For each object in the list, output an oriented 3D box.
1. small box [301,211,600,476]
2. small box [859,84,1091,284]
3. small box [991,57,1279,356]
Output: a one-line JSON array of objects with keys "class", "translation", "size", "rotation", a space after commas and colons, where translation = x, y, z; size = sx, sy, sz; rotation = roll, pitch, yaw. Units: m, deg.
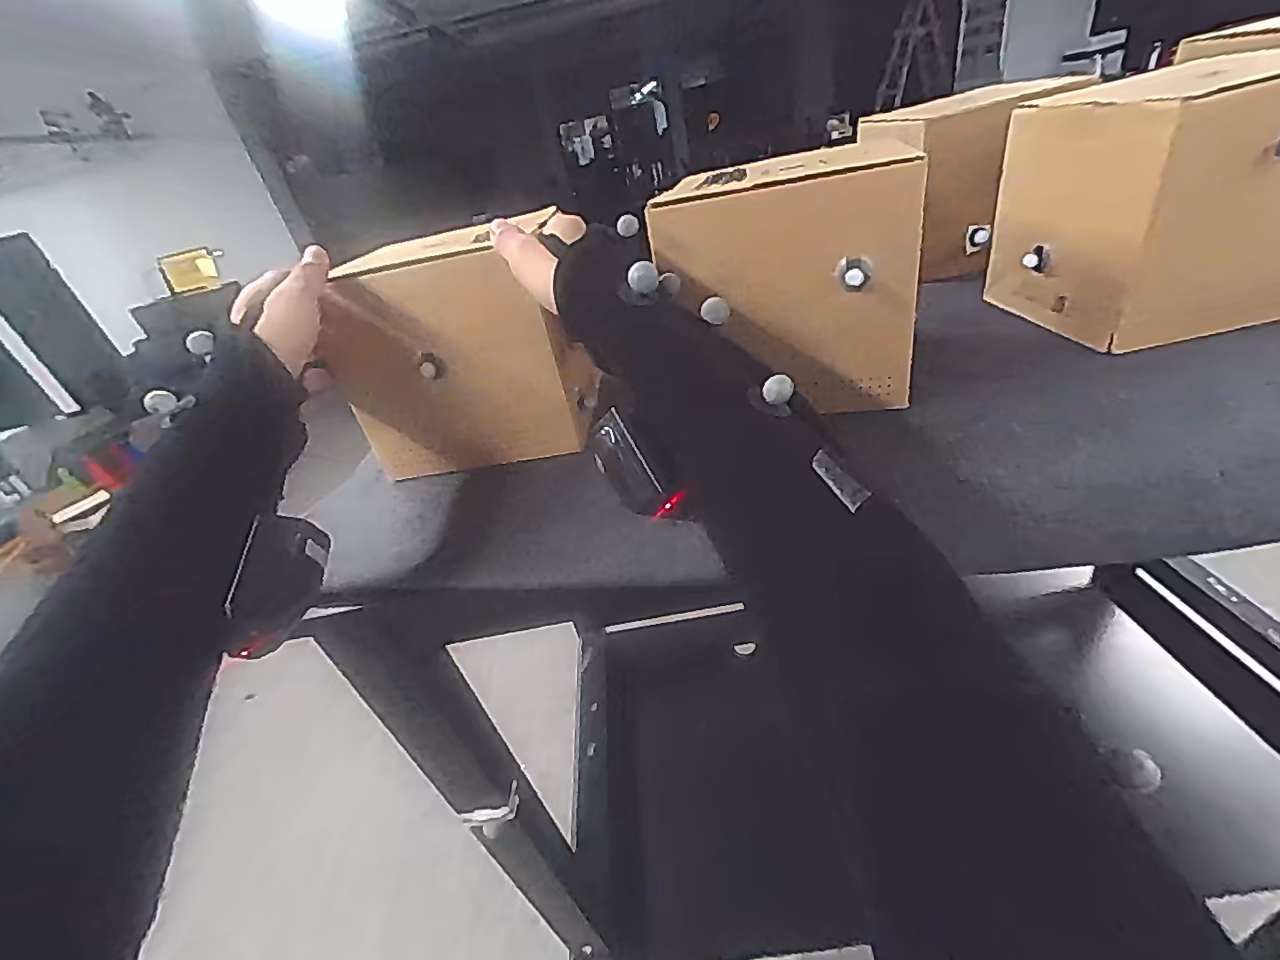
[{"class": "small box", "translation": [-0.140, -0.122, 0.483], "size": [0.179, 0.176, 0.168], "rotation": [-9, 32, 8]}, {"class": "small box", "translation": [0.372, -0.348, 0.644], "size": [0.168, 0.176, 0.179], "rotation": [-12, 34, 4]}, {"class": "small box", "translation": [0.421, -0.218, 0.433], "size": [0.179, 0.176, 0.168], "rotation": [-12, 33, 4]}]
